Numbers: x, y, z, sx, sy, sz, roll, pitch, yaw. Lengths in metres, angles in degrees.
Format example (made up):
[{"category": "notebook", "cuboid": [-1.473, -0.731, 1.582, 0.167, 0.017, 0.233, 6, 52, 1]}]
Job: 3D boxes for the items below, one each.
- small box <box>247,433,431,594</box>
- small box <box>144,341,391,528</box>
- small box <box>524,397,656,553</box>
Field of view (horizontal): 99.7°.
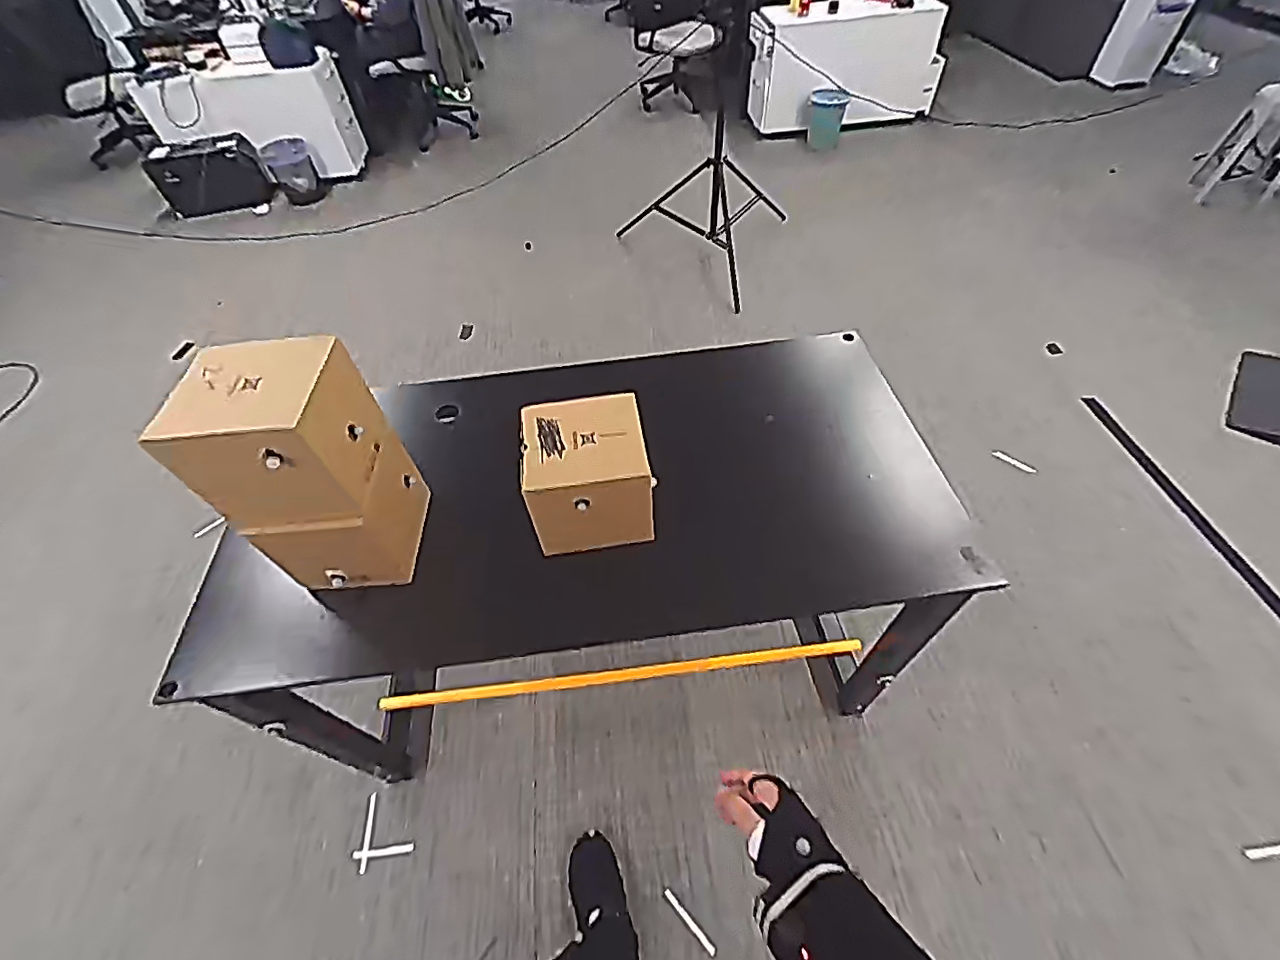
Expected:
[{"category": "small box", "cuboid": [-0.434, 0.053, 0.818, 0.168, 0.176, 0.179, -6, 53, 1]}, {"category": "small box", "cuboid": [-0.449, -0.054, 0.693, 0.179, 0.176, 0.168, -6, 51, 1]}, {"category": "small box", "cuboid": [-0.074, -0.003, 0.836, 0.179, 0.176, 0.168, -8, 52, -3]}]
